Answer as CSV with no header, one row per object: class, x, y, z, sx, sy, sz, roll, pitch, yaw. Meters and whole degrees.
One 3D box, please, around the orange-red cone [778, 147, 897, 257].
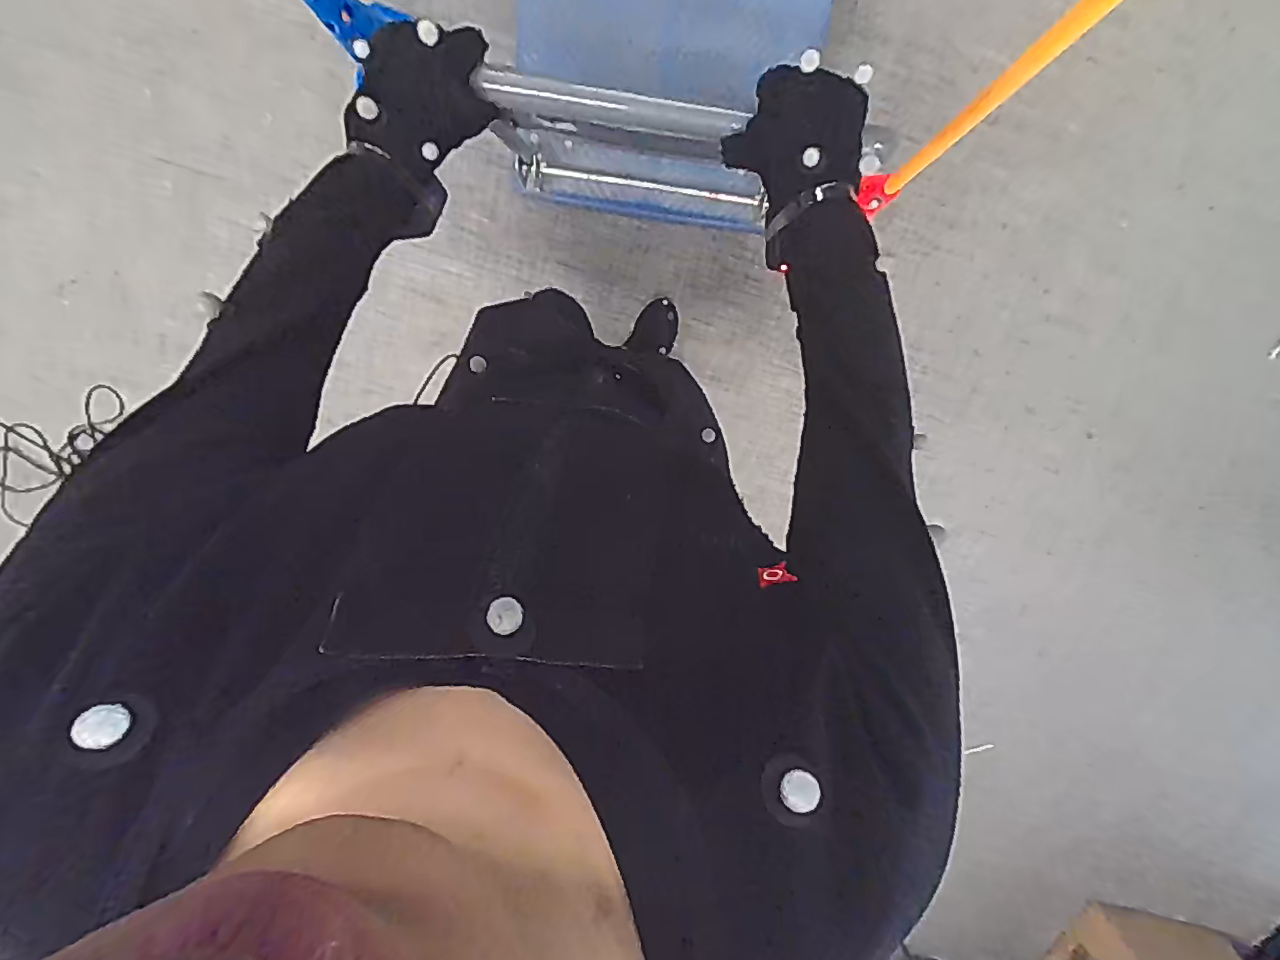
orange-red cone,0.437,-0.592,1.109,0.199,0.360,0.198,18,109,-3
